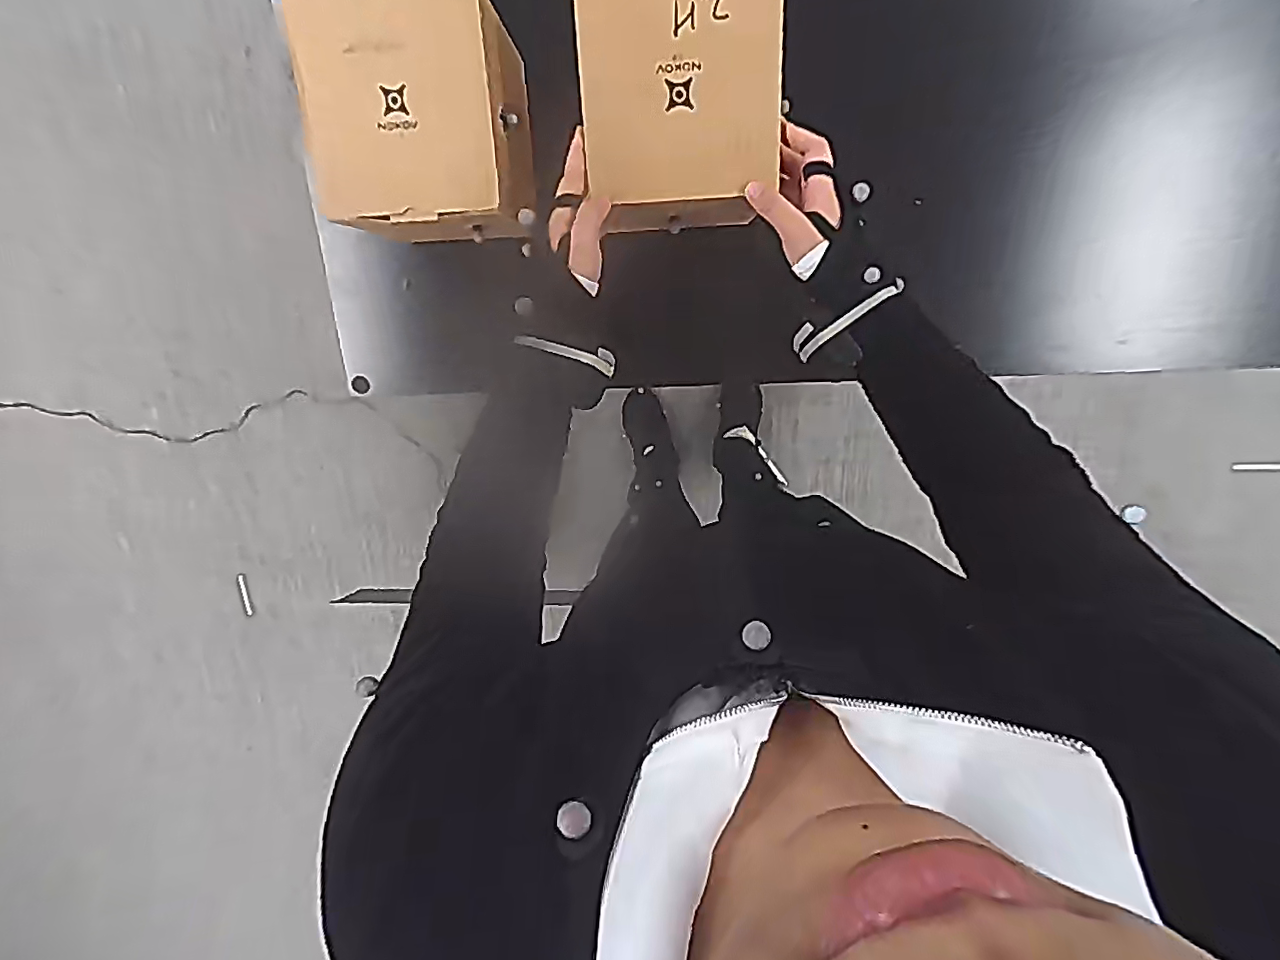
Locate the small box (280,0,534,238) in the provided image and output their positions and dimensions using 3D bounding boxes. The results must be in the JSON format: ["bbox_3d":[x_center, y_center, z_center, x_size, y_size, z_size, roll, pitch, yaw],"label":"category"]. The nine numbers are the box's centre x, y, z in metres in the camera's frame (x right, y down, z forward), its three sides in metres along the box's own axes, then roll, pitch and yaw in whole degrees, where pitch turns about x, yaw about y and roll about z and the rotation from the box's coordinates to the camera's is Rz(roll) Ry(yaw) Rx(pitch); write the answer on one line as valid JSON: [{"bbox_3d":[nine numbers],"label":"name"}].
[{"bbox_3d":[-0.209,-0.346,0.541,0.168,0.176,0.179,-3,107,1],"label":"small box"}]

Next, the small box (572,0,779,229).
[{"bbox_3d":[0.032,-0.345,0.518,0.168,0.176,0.179,-2,106,2],"label":"small box"}]
